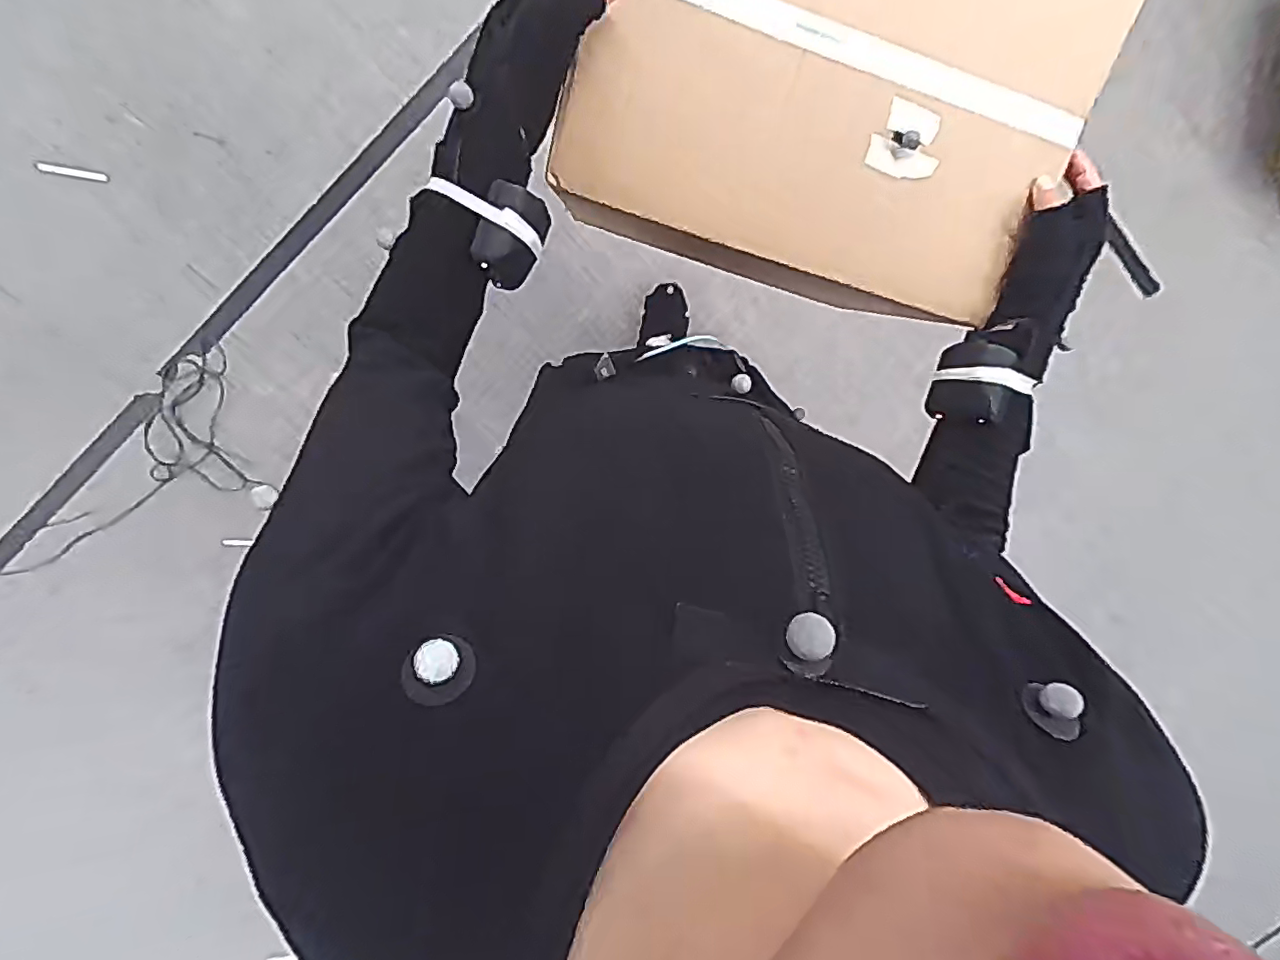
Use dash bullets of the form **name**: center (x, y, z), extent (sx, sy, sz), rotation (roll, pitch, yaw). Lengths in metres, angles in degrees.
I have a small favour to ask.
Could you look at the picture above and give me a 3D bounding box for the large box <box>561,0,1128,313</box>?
- **large box**: center (0.153, -0.390, 0.561), extent (0.408, 0.320, 0.320), rotation (14, 111, -9)
